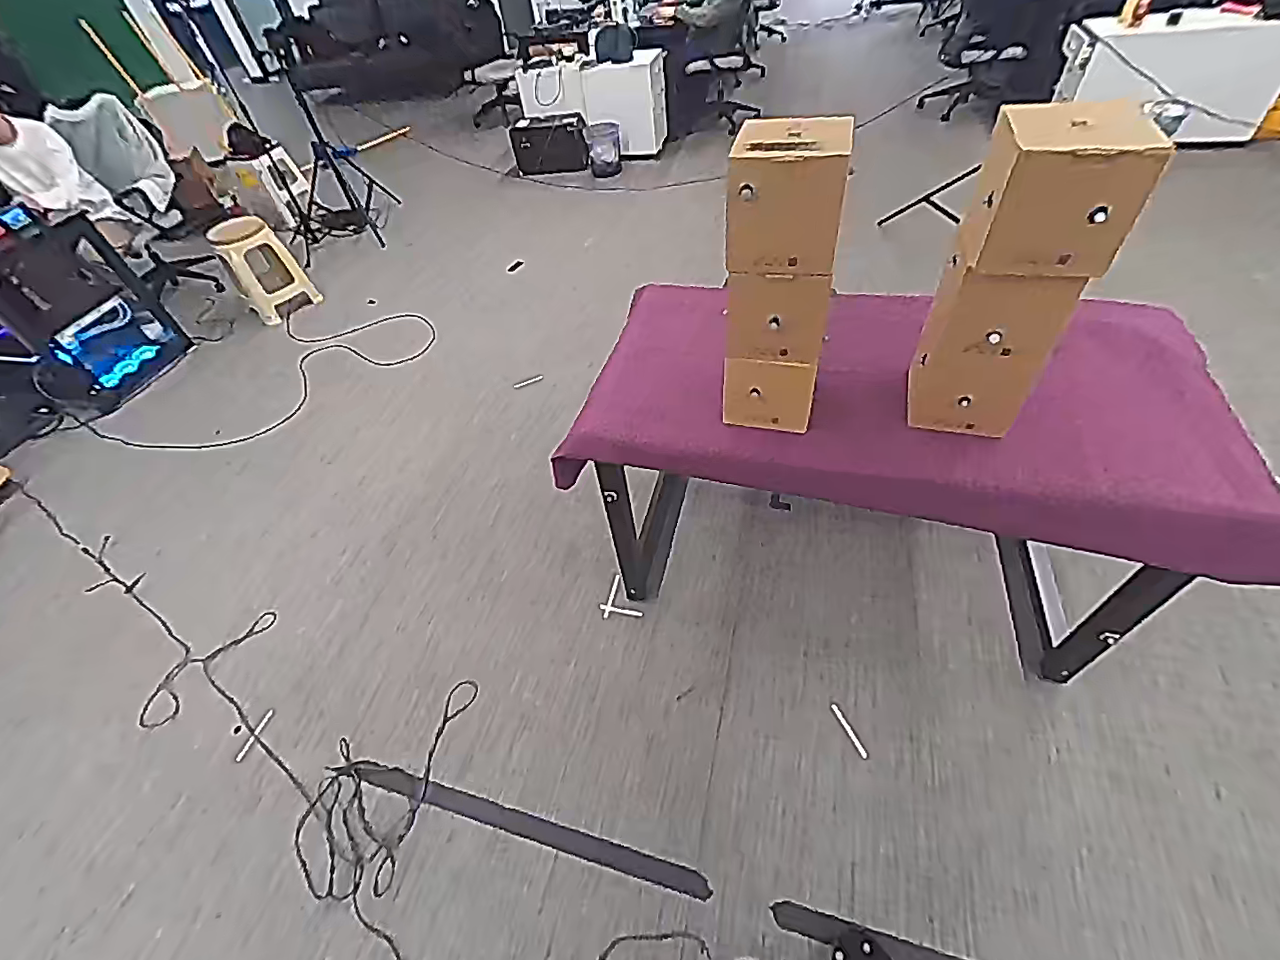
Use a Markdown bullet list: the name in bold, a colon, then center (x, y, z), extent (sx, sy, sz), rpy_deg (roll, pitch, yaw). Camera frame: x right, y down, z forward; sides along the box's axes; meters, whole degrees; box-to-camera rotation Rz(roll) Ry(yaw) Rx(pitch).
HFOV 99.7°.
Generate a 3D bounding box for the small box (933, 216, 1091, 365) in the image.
- **small box**: center (0.602, -0.317, 0.901), extent (0.168, 0.176, 0.179), rpy_deg (10, 52, 16)

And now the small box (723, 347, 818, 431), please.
- **small box**: center (0.265, -0.218, 1.083), extent (0.168, 0.176, 0.179), rpy_deg (9, 50, 15)

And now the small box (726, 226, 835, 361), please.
- **small box**: center (0.248, -0.332, 0.965), extent (0.168, 0.176, 0.179), rpy_deg (7, 50, 13)

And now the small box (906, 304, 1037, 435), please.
- **small box**: center (0.615, -0.207, 1.022), extent (0.168, 0.176, 0.179), rpy_deg (11, 51, 16)

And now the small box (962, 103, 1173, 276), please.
- **small box**: center (0.581, -0.407, 0.766), extent (0.168, 0.176, 0.179), rpy_deg (8, 50, 14)
